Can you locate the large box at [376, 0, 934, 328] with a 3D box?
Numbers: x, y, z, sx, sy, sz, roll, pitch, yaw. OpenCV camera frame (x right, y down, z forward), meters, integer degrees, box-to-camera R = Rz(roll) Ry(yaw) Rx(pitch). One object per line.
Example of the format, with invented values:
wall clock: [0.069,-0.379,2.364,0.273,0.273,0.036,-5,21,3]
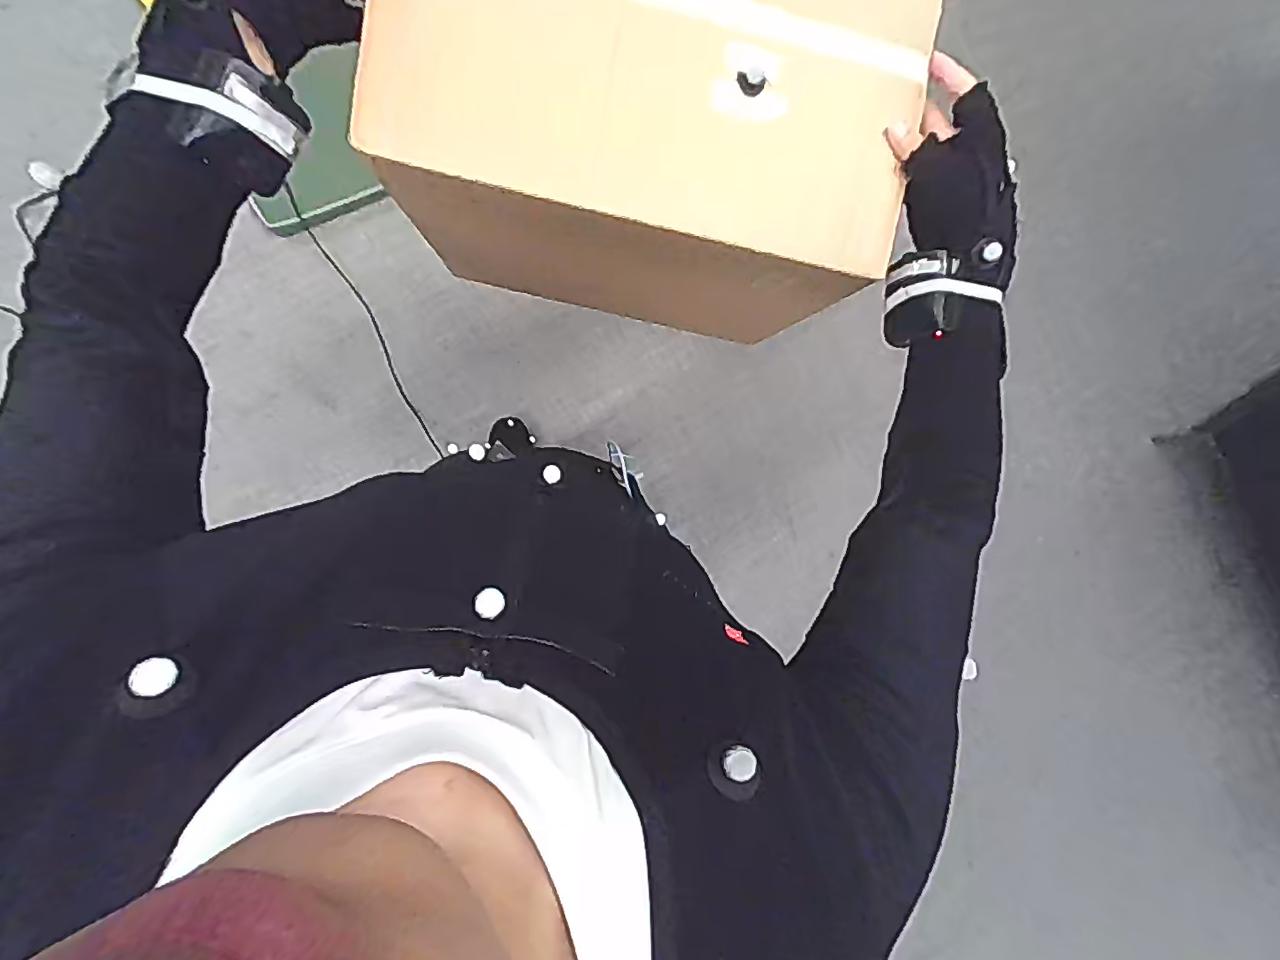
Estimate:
large box: [0.007,-0.370,0.549,0.408,0.320,0.320,10,94,-9]
